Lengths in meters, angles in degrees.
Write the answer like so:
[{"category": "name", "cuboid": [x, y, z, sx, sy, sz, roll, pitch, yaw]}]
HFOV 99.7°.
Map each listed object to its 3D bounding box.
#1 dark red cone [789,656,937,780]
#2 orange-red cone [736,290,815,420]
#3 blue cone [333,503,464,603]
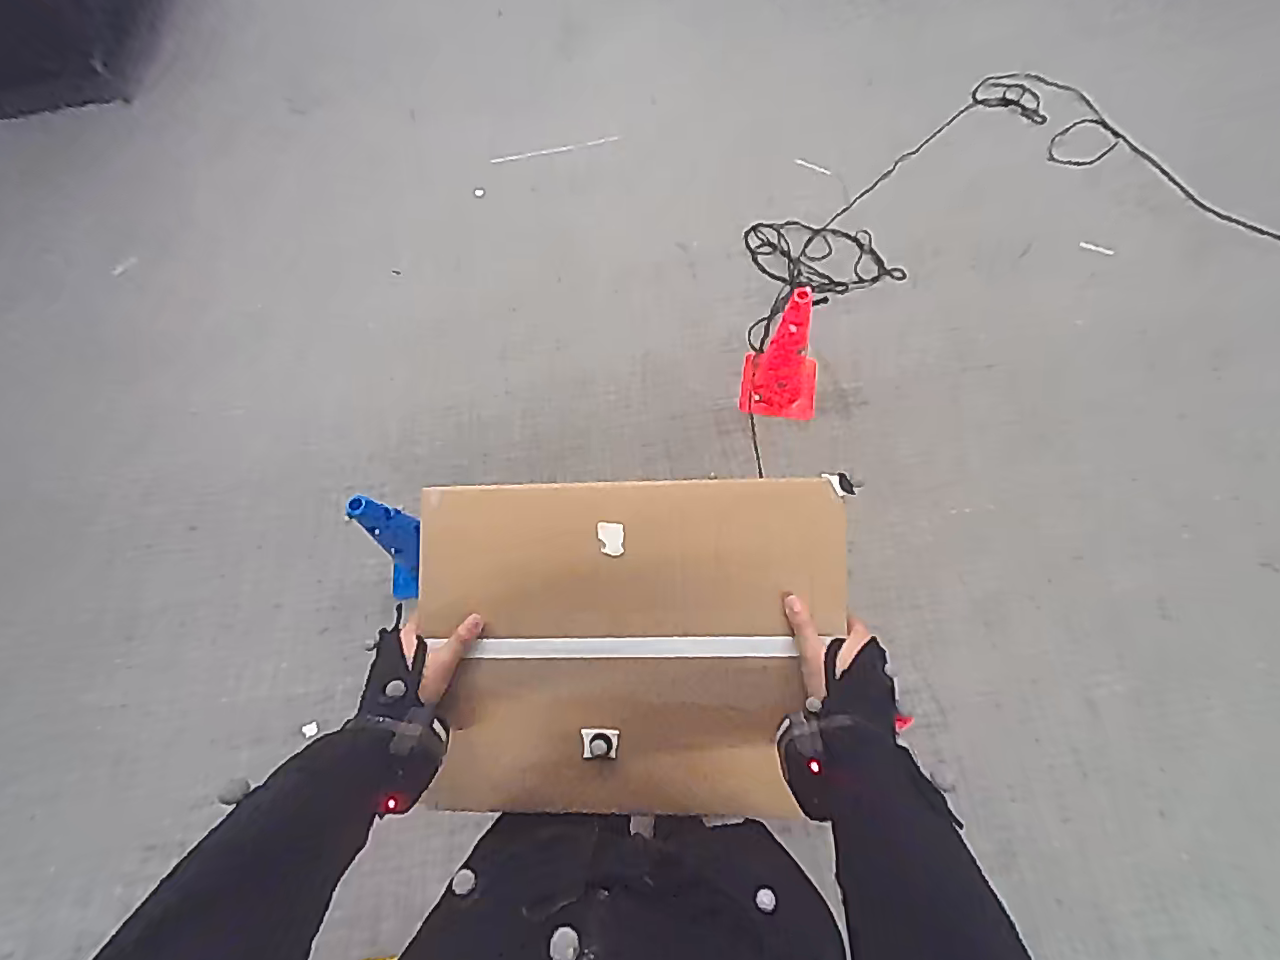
[{"category": "dark red cone", "cuboid": [0.412, 0.418, 0.948, 0.202, 0.394, 0.201, -16, 68, -2]}, {"category": "orange-red cone", "cuboid": [0.361, -0.327, 1.325, 0.199, 0.360, 0.198, 9, 67, 8]}, {"category": "blue cone", "cuboid": [-0.551, 0.136, 1.216, 0.192, 0.380, 0.193, -9, 64, 2]}]
